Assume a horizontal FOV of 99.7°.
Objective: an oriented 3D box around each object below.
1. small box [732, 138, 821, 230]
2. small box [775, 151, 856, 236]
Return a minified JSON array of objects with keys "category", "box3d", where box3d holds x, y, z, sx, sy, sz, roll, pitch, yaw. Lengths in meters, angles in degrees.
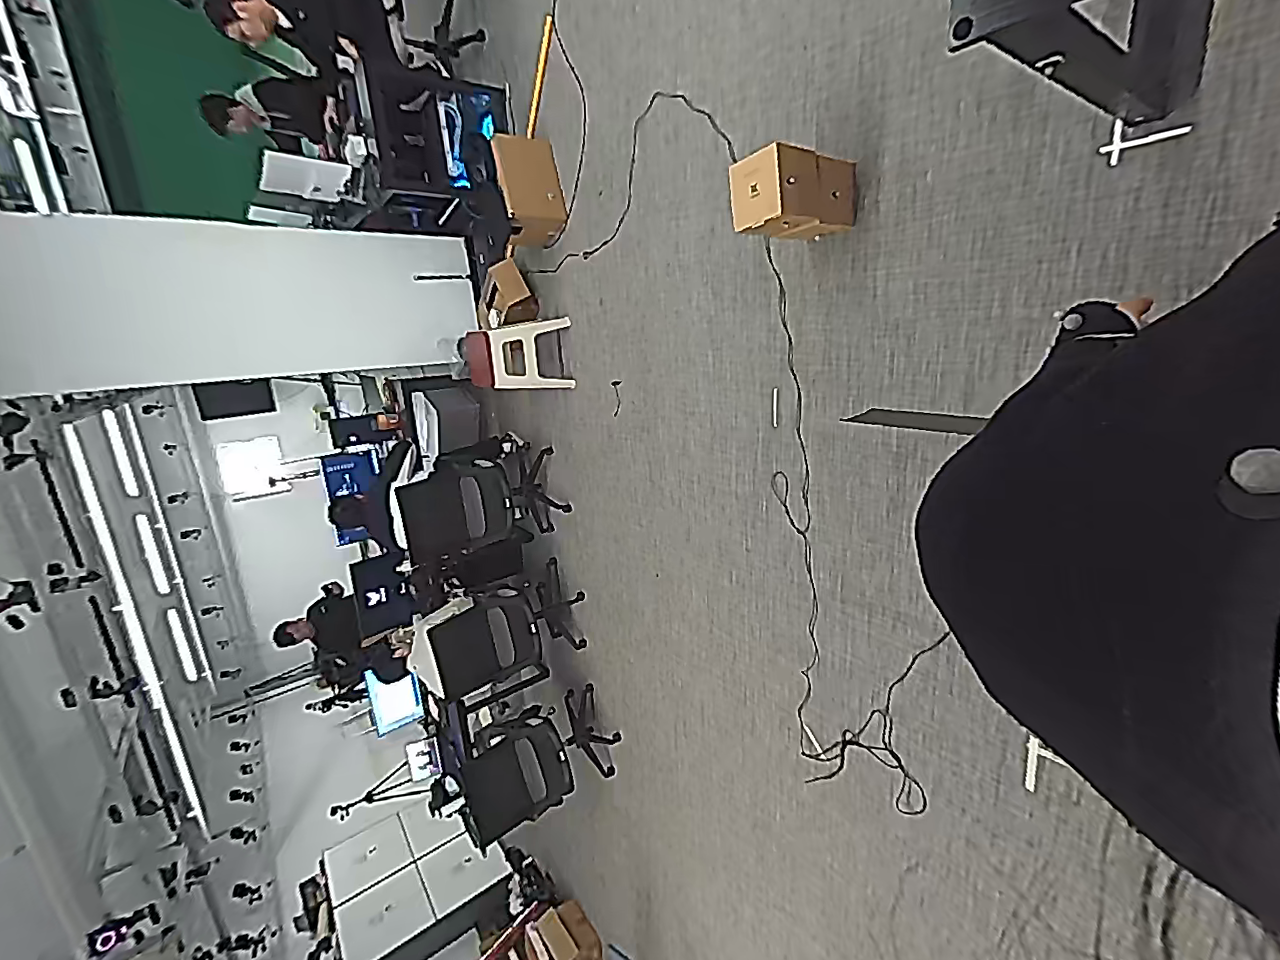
[{"category":"small box","box3d":[0.374,-0.791,1.467,0.168,0.176,0.179,6,105,53]},{"category":"small box","box3d":[0.505,-0.817,1.559,0.168,0.176,0.179,12,112,53]}]
